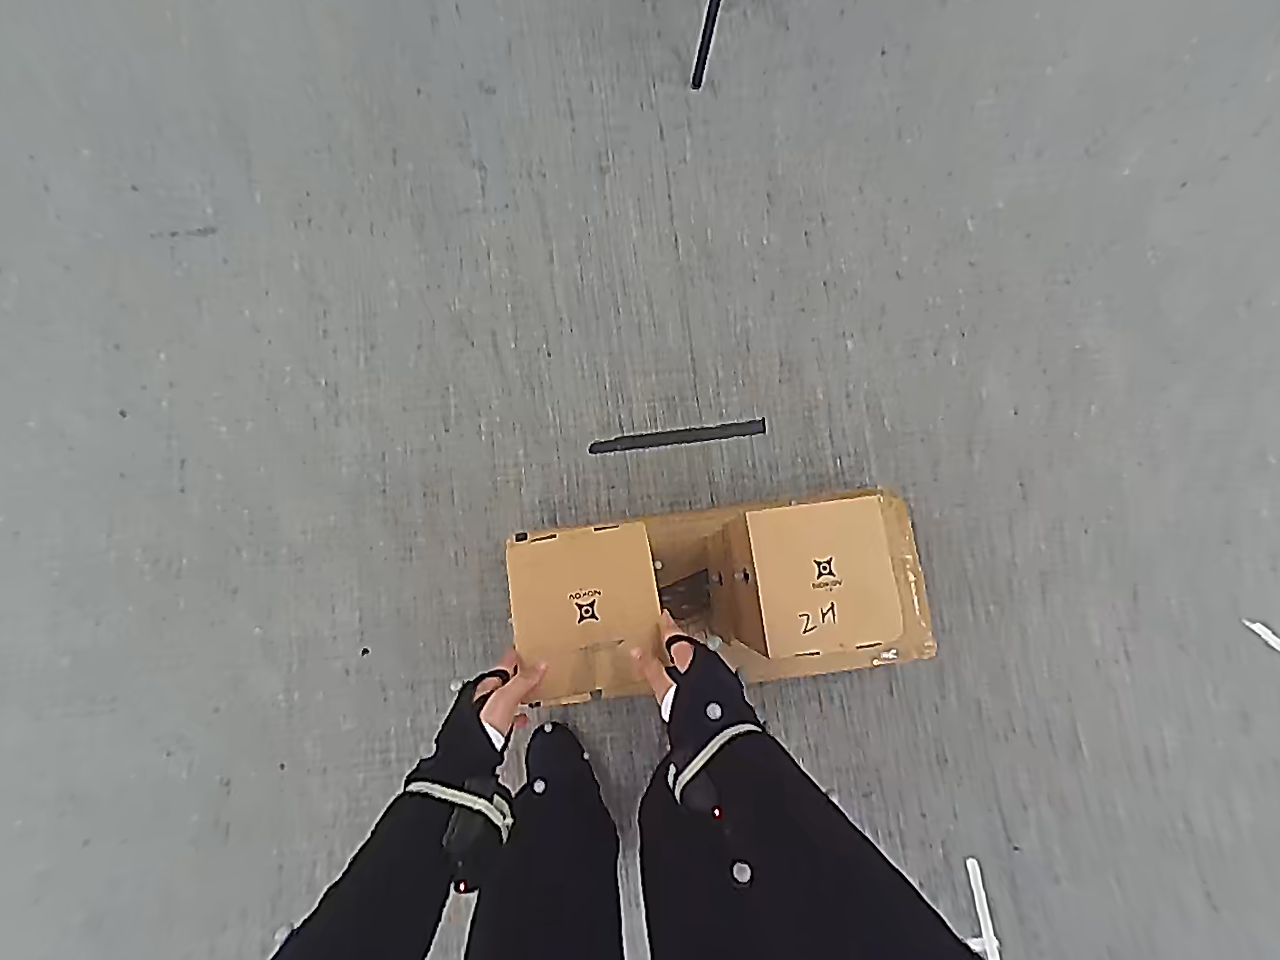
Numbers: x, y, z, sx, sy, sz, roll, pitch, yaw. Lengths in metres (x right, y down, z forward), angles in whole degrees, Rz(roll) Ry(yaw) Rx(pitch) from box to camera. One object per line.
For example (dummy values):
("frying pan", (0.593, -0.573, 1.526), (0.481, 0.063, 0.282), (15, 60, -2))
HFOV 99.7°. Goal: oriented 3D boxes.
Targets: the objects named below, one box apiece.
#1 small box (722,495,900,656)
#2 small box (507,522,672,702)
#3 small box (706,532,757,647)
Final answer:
("small box", (0.212, 0.126, 0.722), (0.168, 0.176, 0.179), (-7, 80, -2))
("small box", (-0.061, 0.166, 0.675), (0.168, 0.176, 0.179), (-10, 73, -3))
("small box", (0.204, 0.169, 0.883), (0.168, 0.176, 0.179), (-3, 81, -1))
